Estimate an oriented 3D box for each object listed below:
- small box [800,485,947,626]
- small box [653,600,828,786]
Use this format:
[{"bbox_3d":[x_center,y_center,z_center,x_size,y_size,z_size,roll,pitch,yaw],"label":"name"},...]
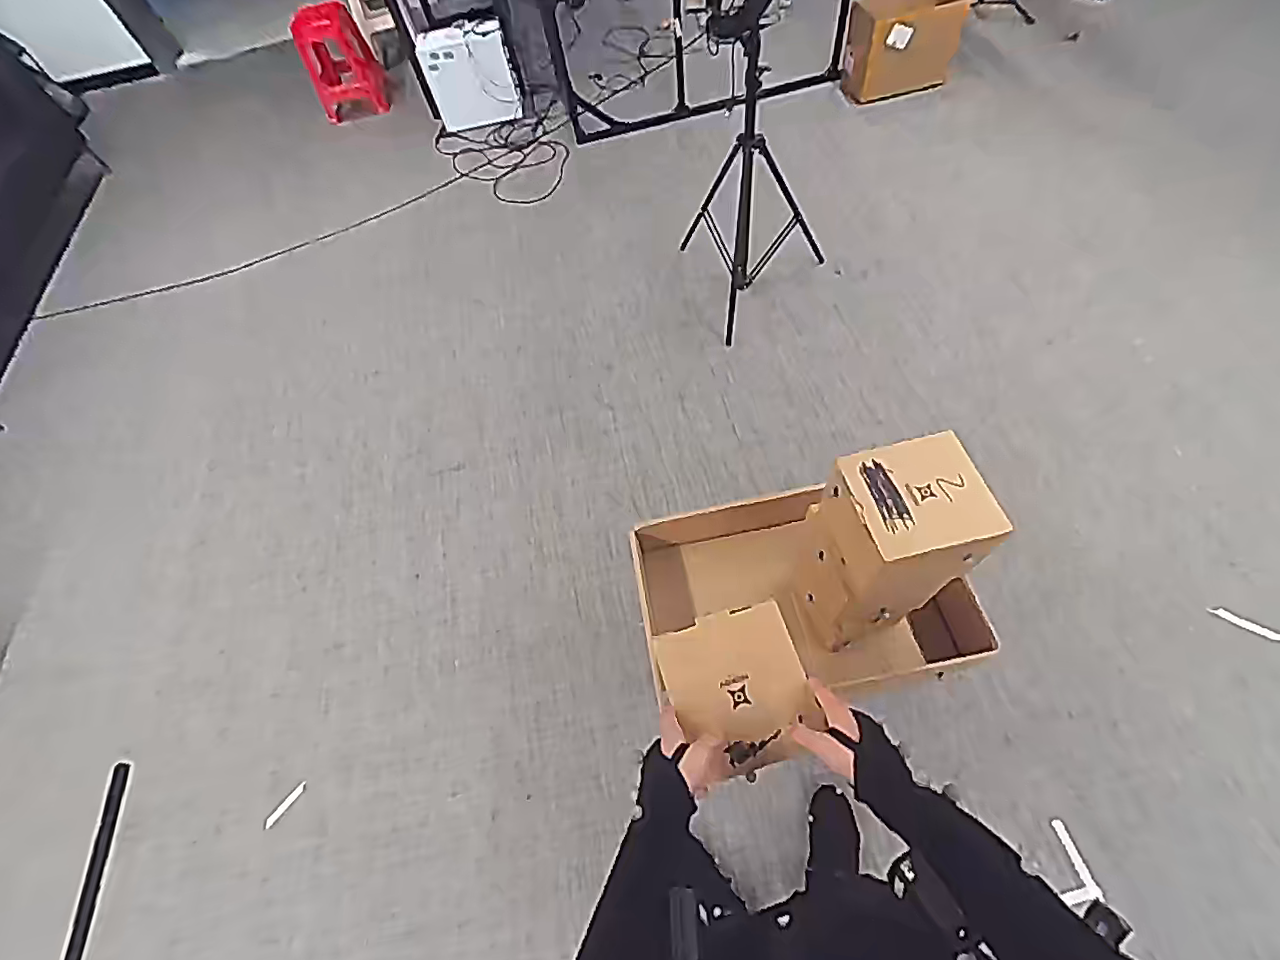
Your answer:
[{"bbox_3d":[0.392,0.136,0.948,0.168,0.176,0.179,-14,60,2],"label":"small box"},{"bbox_3d":[0.122,0.279,0.721,0.168,0.176,0.179,-18,68,0],"label":"small box"}]
